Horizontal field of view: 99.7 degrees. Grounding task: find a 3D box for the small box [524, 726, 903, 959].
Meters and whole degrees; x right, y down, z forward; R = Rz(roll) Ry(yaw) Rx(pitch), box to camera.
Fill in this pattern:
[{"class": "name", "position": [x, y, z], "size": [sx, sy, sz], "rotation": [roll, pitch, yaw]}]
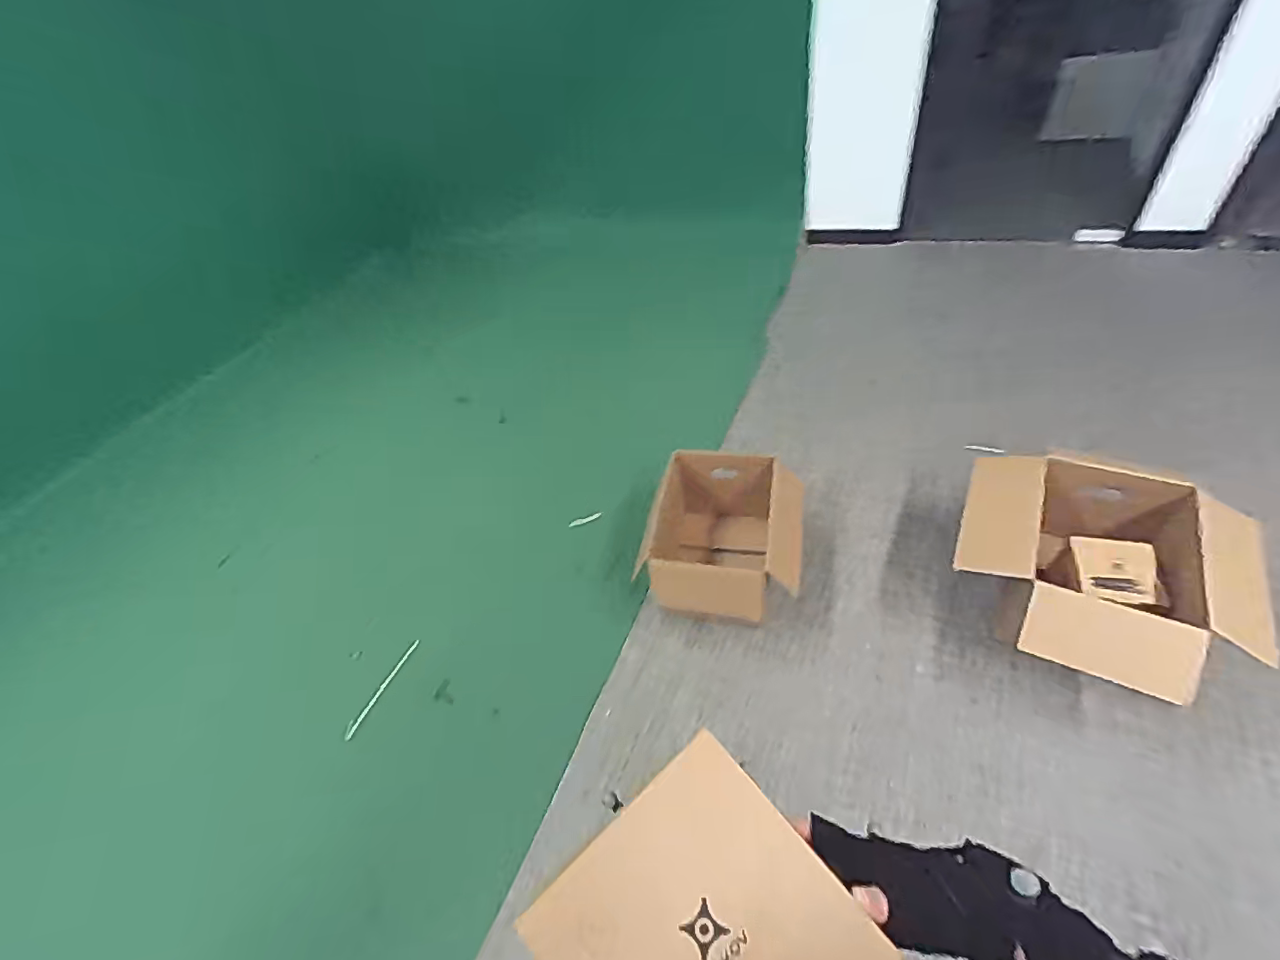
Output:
[{"class": "small box", "position": [0.037, 0.317, 0.391], "size": [0.168, 0.176, 0.179], "rotation": [-34, 67, -23]}]
